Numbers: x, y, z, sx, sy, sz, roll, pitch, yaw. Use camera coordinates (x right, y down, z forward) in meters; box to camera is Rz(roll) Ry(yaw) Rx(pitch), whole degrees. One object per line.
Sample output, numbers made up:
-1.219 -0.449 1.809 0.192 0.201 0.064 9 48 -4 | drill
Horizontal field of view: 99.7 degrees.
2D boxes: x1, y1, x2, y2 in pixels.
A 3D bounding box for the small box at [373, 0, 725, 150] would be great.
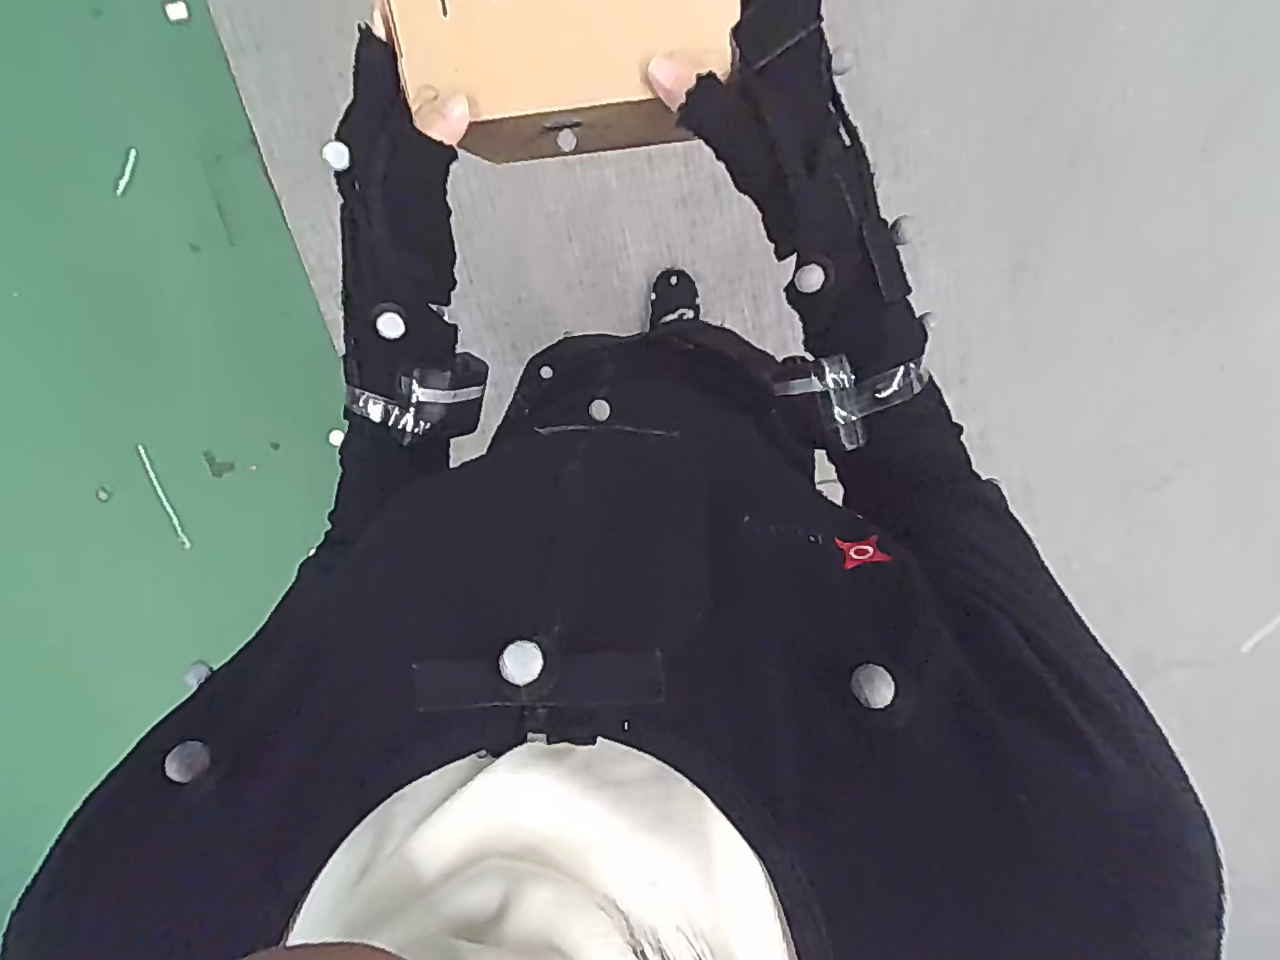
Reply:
-0.046 -0.306 0.318 0.179 0.176 0.168 -4 115 4 | small box
